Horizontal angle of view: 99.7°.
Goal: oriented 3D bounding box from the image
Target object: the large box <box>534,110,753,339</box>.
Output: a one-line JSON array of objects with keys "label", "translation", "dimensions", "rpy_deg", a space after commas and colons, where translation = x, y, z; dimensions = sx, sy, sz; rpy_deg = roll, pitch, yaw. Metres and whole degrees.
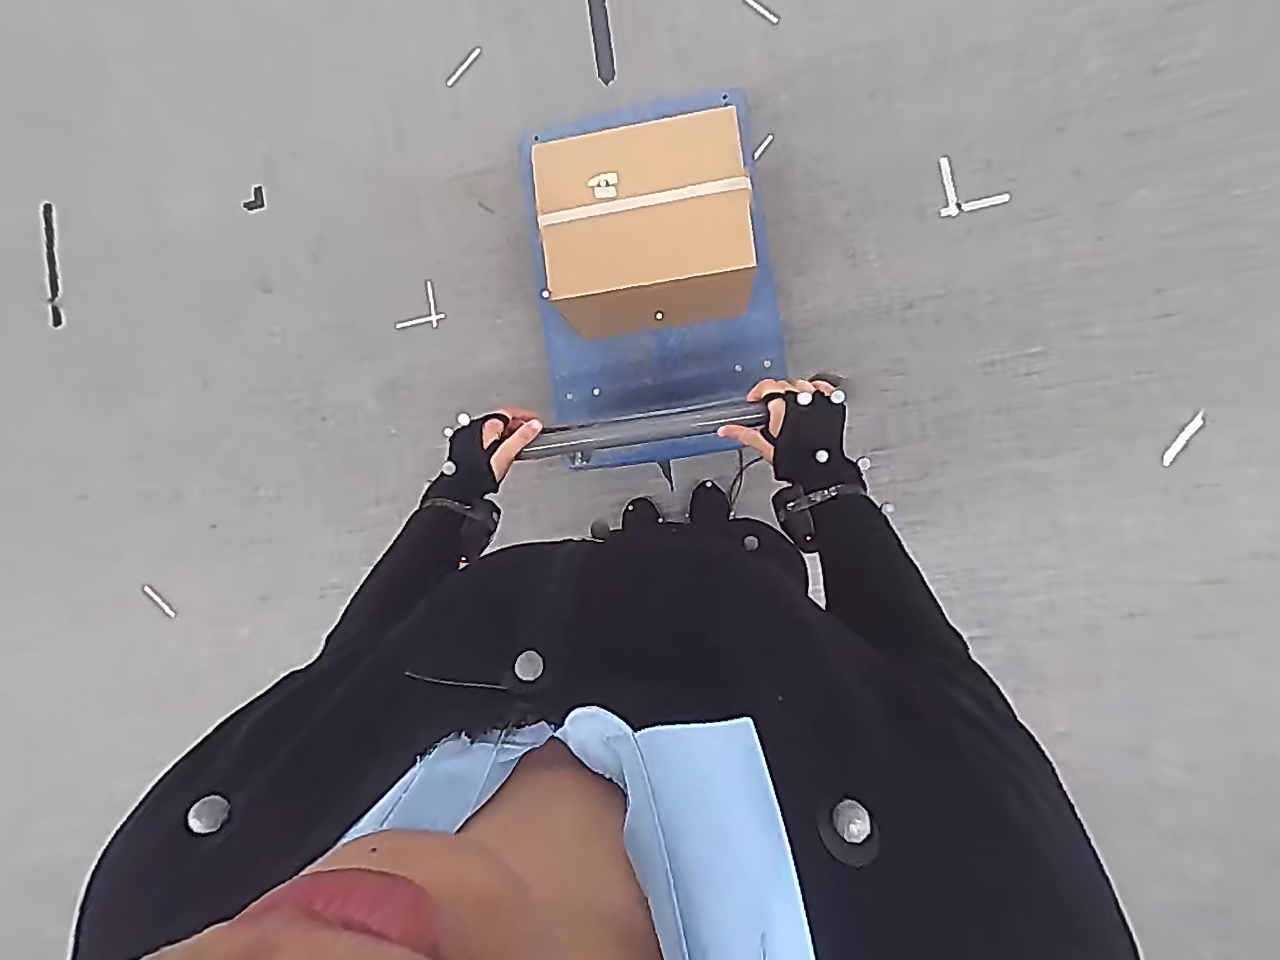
[{"label": "large box", "translation": [0.021, -0.530, 1.201], "dimensions": [0.408, 0.320, 0.320], "rpy_deg": [-8, 88, 7]}]
